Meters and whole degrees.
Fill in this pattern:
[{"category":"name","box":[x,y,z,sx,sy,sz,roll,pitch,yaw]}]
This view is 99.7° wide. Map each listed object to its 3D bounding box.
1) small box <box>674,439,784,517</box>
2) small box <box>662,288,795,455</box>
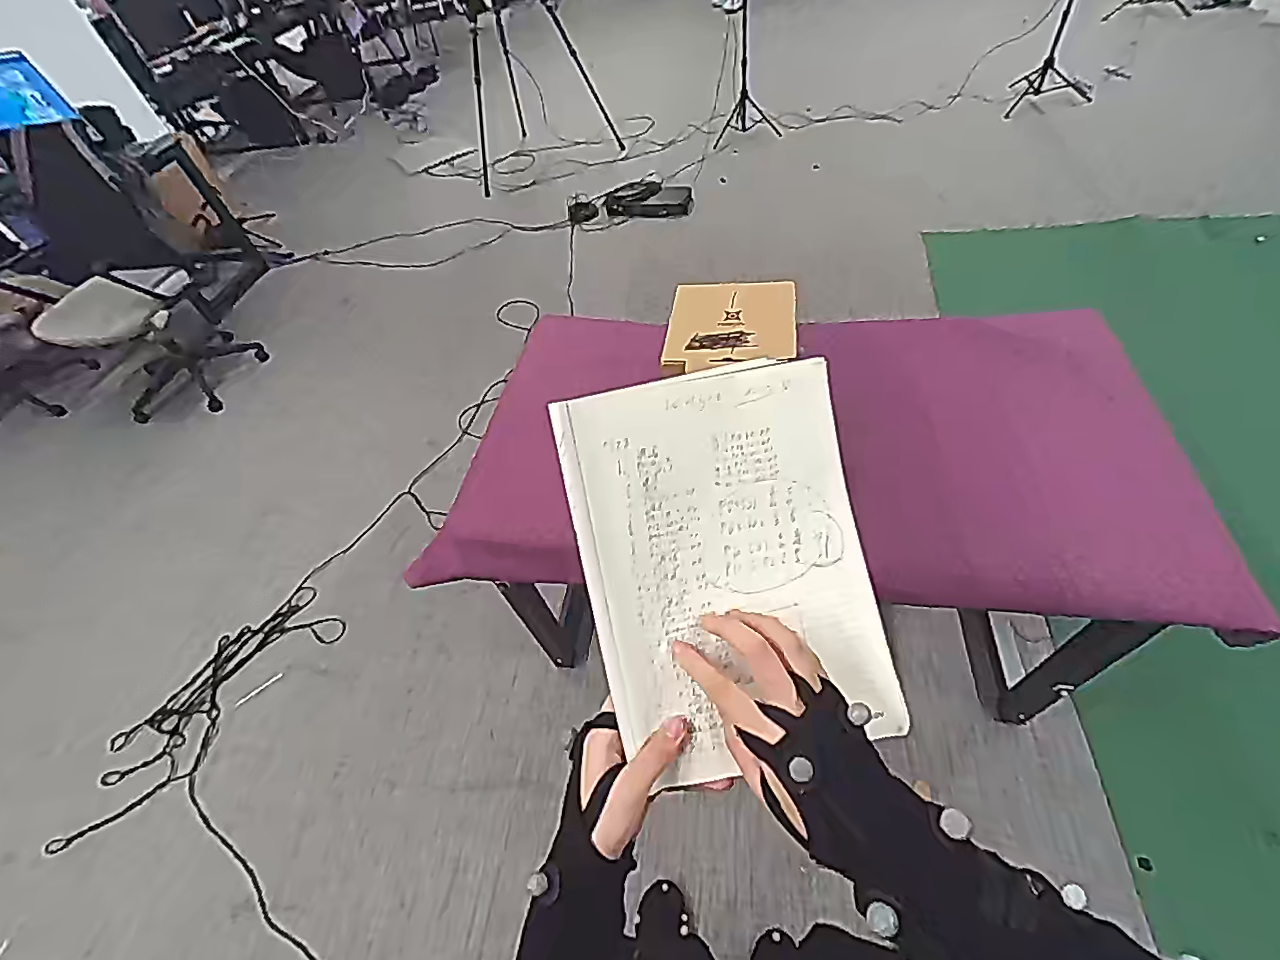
[{"category":"small box","box":[0.156,-0.053,0.908,0.168,0.176,0.179,3,53,12]},{"category":"small box","box":[0.133,-0.152,0.777,0.168,0.176,0.179,3,51,12]}]
